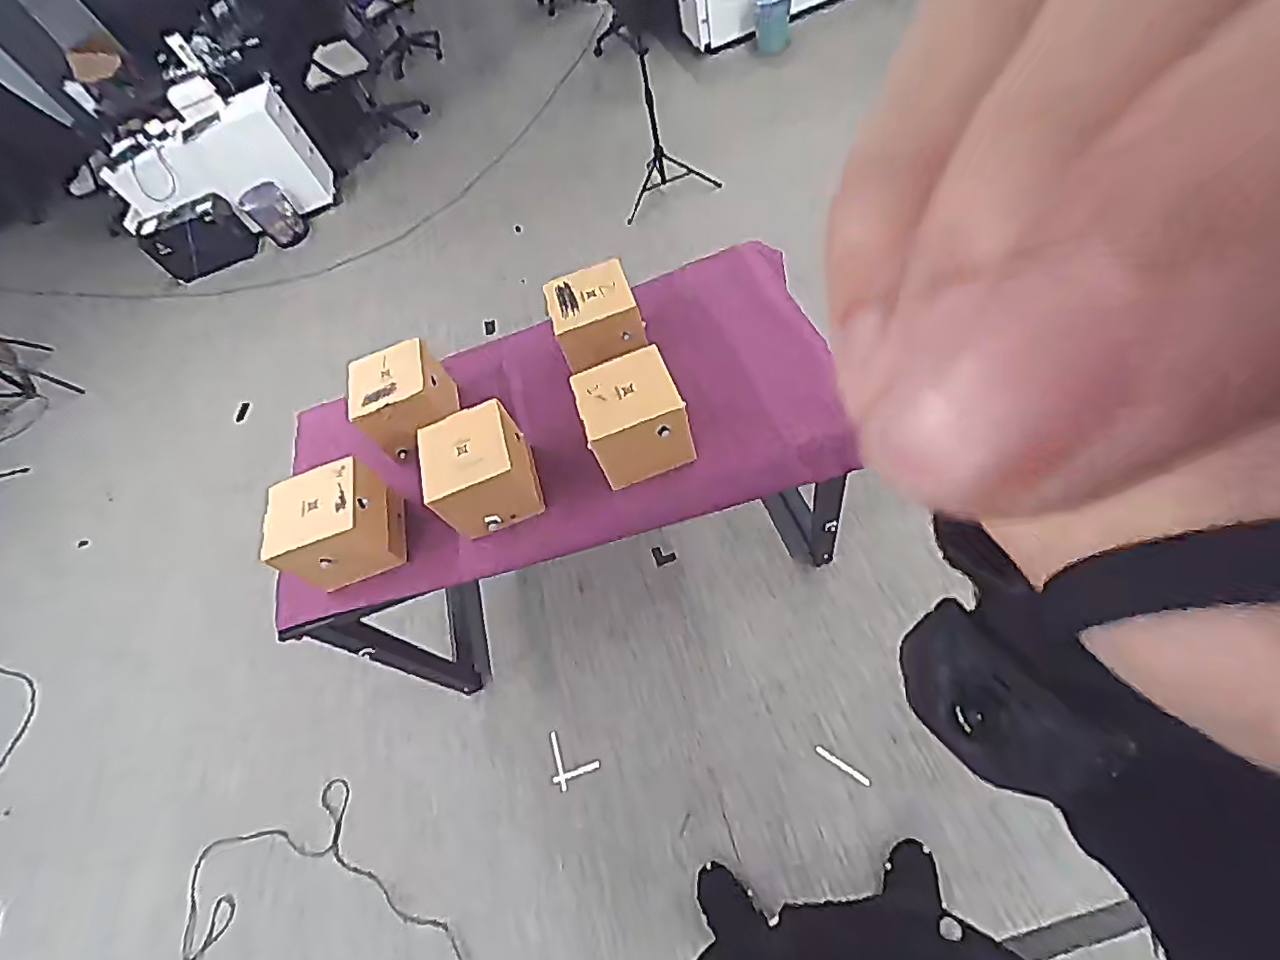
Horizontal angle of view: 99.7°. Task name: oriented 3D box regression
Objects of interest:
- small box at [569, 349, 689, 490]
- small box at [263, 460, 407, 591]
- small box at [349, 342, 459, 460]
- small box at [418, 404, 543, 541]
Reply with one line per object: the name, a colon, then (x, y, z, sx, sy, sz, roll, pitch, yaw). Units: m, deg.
small box: (-0.013, -0.109, 1.027, 0.179, 0.176, 0.168, -21, 56, 2)
small box: (-0.581, 0.096, 1.051, 0.179, 0.176, 0.168, -21, 57, 2)
small box: (-0.513, -0.164, 1.195, 0.168, 0.176, 0.179, -21, 56, 1)
small box: (-0.305, -0.009, 1.047, 0.168, 0.176, 0.179, -22, 58, 2)
